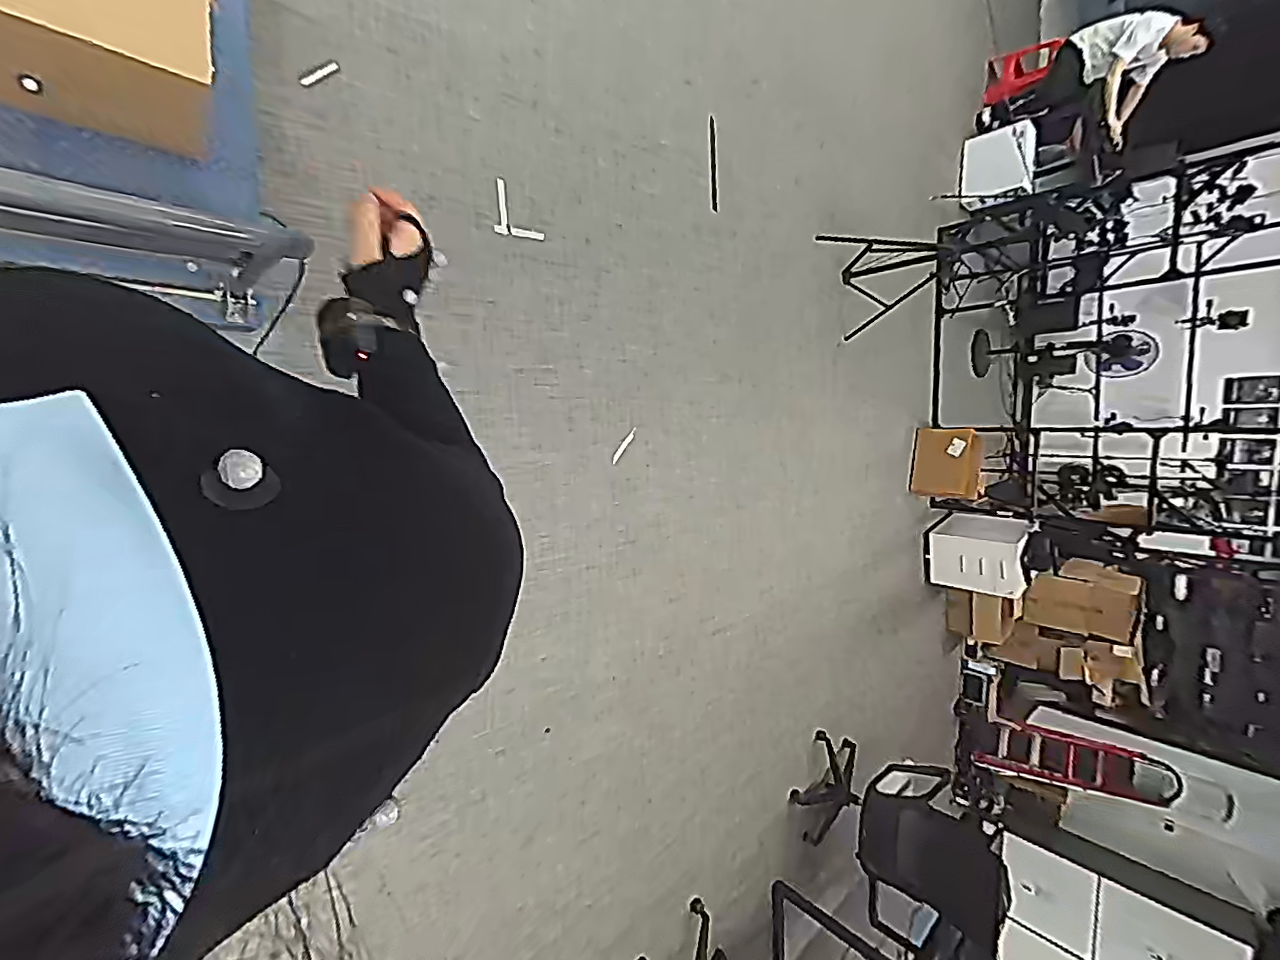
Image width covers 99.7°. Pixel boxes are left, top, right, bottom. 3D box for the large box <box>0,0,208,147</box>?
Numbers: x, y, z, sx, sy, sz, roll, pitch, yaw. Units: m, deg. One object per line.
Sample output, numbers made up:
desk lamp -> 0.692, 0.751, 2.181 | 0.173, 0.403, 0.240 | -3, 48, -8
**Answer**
large box -> -0.873, -0.742, 0.752 | 0.408, 0.320, 0.320 | -2, 95, -41
